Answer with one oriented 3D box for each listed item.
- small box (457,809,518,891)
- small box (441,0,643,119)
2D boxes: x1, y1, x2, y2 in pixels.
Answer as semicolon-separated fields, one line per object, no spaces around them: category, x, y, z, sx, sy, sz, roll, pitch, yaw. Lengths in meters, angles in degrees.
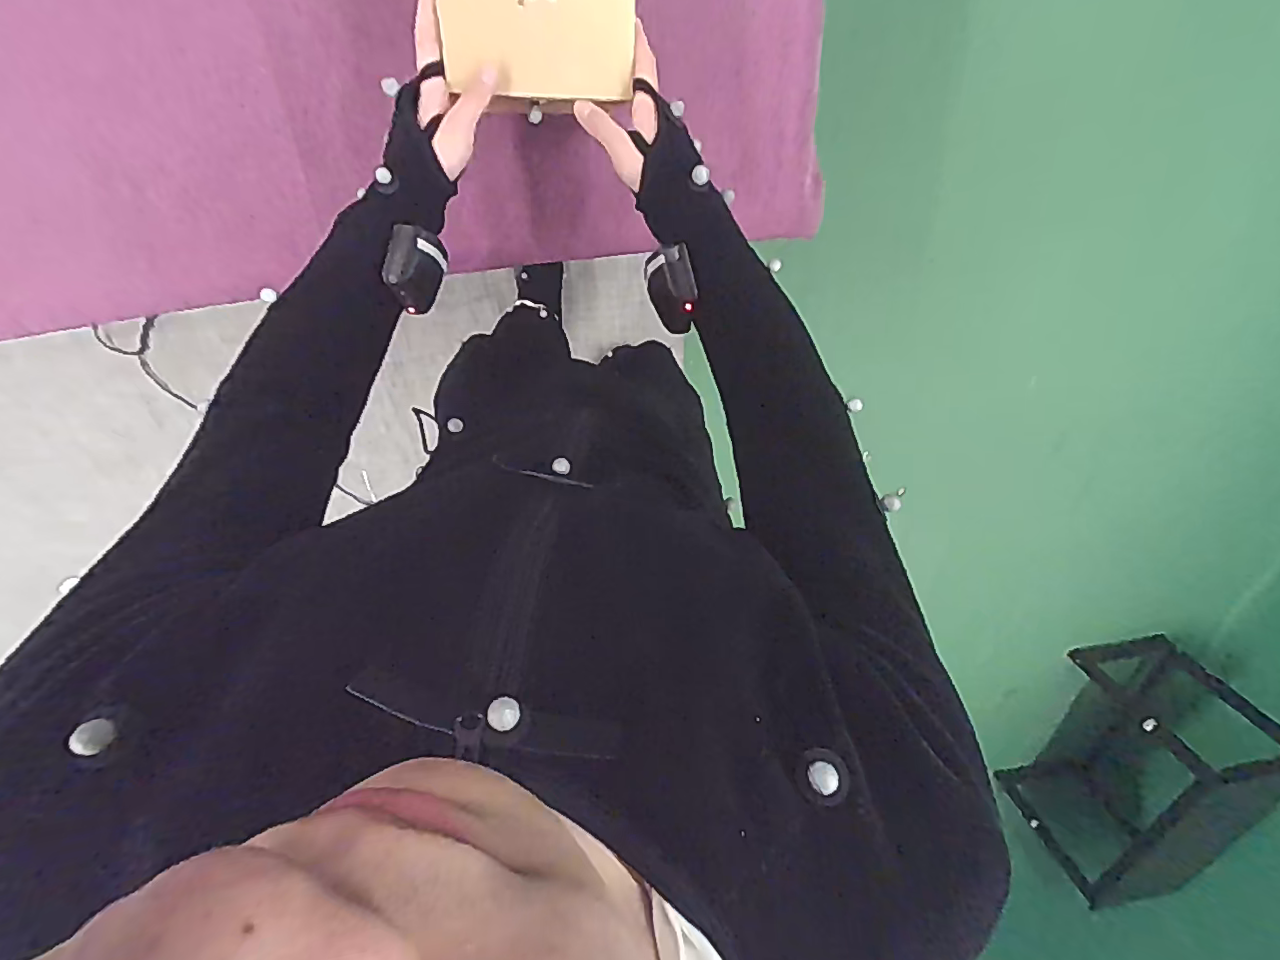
small box;-0.521;1.279;1.874;0.179;0.176;0.168;-8;124;-8
small box;-0.097;-0.461;0.531;0.179;0.176;0.168;-4;121;-9
